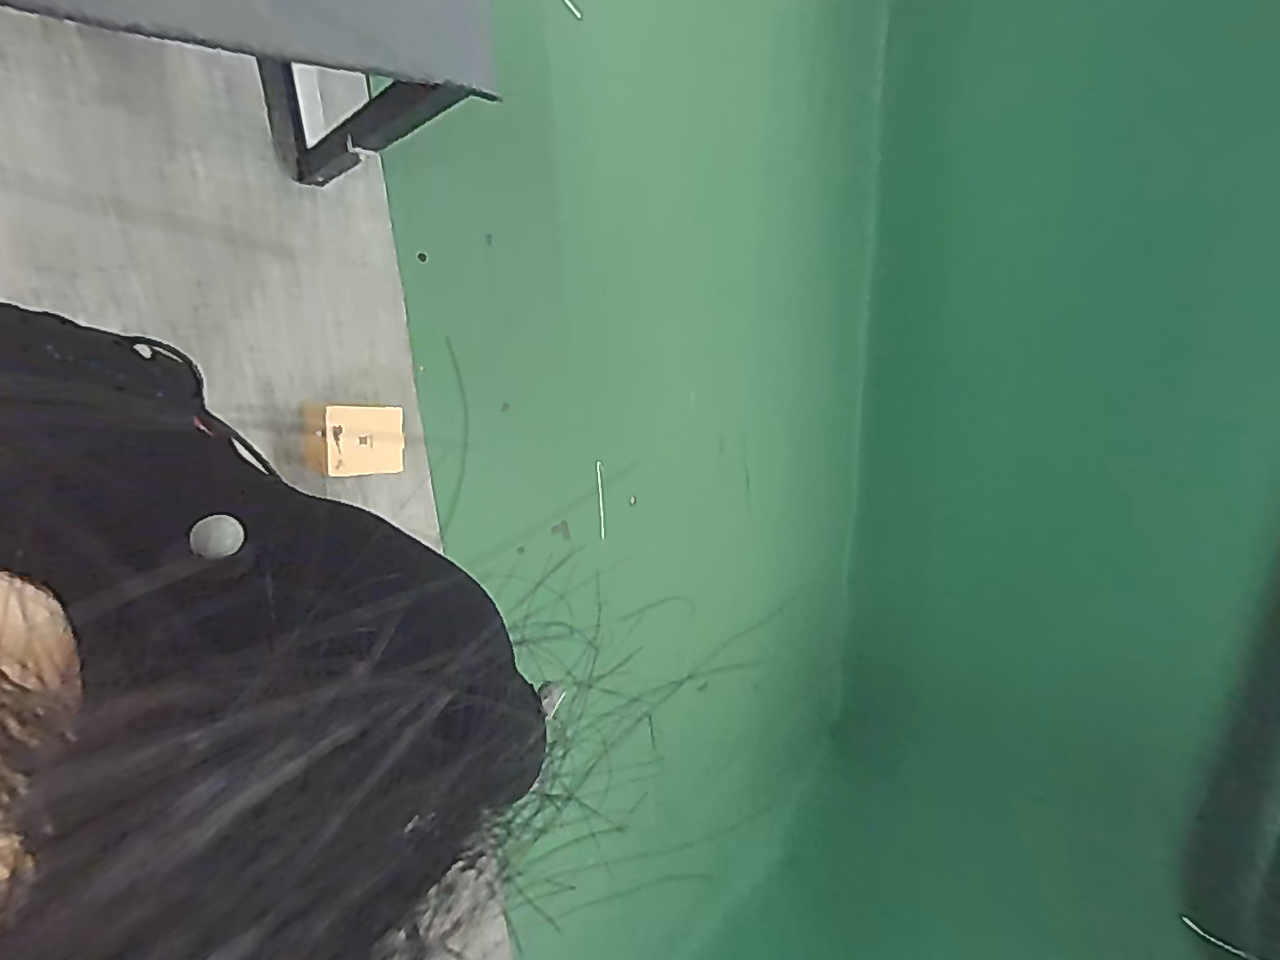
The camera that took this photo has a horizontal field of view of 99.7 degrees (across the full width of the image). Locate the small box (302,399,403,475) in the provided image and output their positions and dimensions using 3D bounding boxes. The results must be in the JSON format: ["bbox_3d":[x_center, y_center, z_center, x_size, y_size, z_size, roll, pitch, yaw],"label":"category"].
[{"bbox_3d":[-0.711,-0.111,1.337,0.179,0.176,0.168,-6,105,-47],"label":"small box"}]
